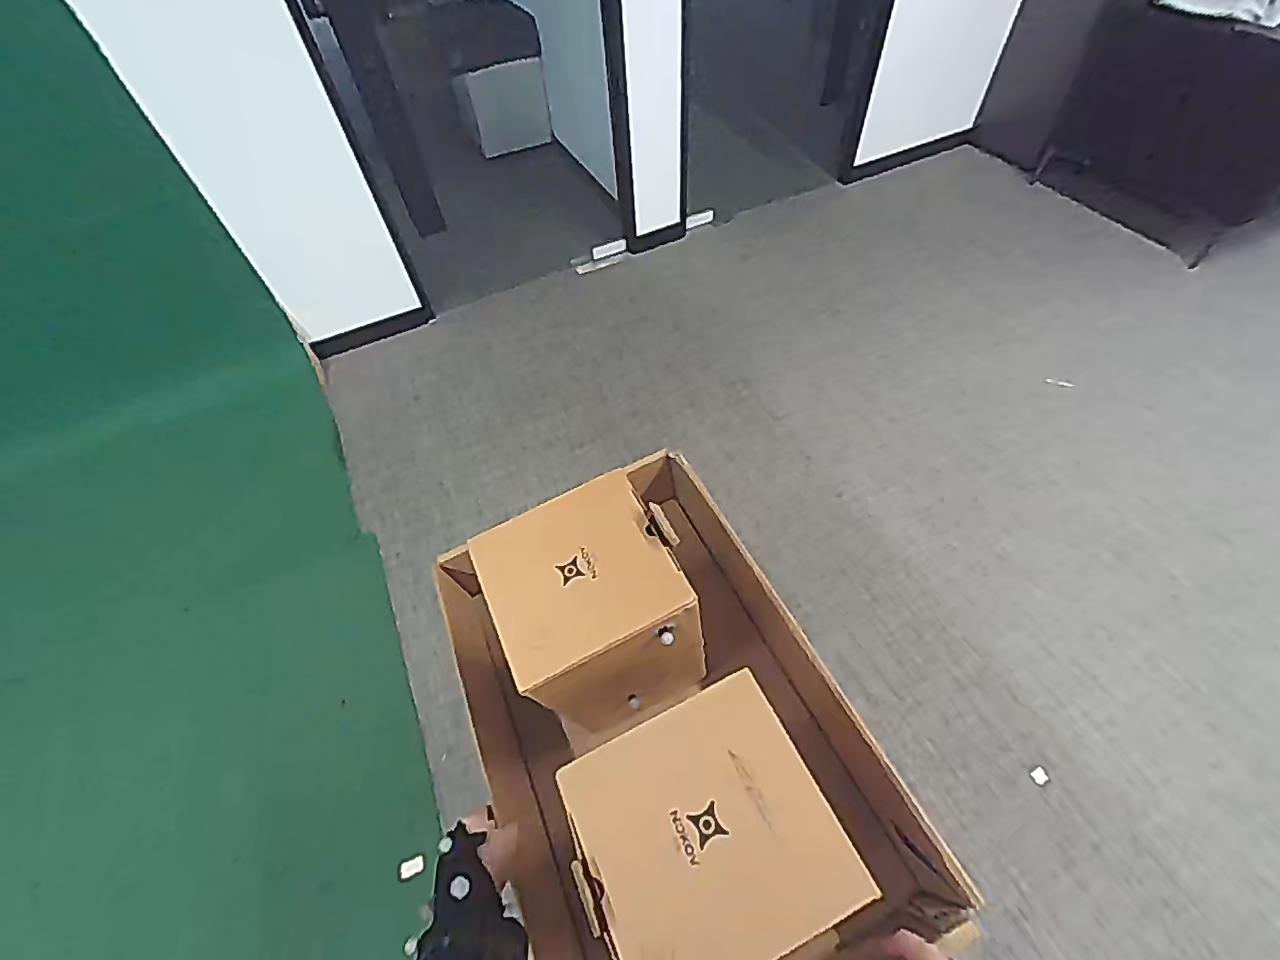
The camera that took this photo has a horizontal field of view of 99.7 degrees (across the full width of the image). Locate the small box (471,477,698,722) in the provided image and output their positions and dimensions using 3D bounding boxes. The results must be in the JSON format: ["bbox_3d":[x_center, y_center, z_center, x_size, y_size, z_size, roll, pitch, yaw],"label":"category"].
[{"bbox_3d":[-0.050,0.134,0.578,0.179,0.176,0.168,-26,58,-9],"label":"small box"}]

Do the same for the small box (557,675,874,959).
[{"bbox_3d":[0.057,0.297,0.450,0.179,0.176,0.168,-26,56,-8],"label":"small box"}]
